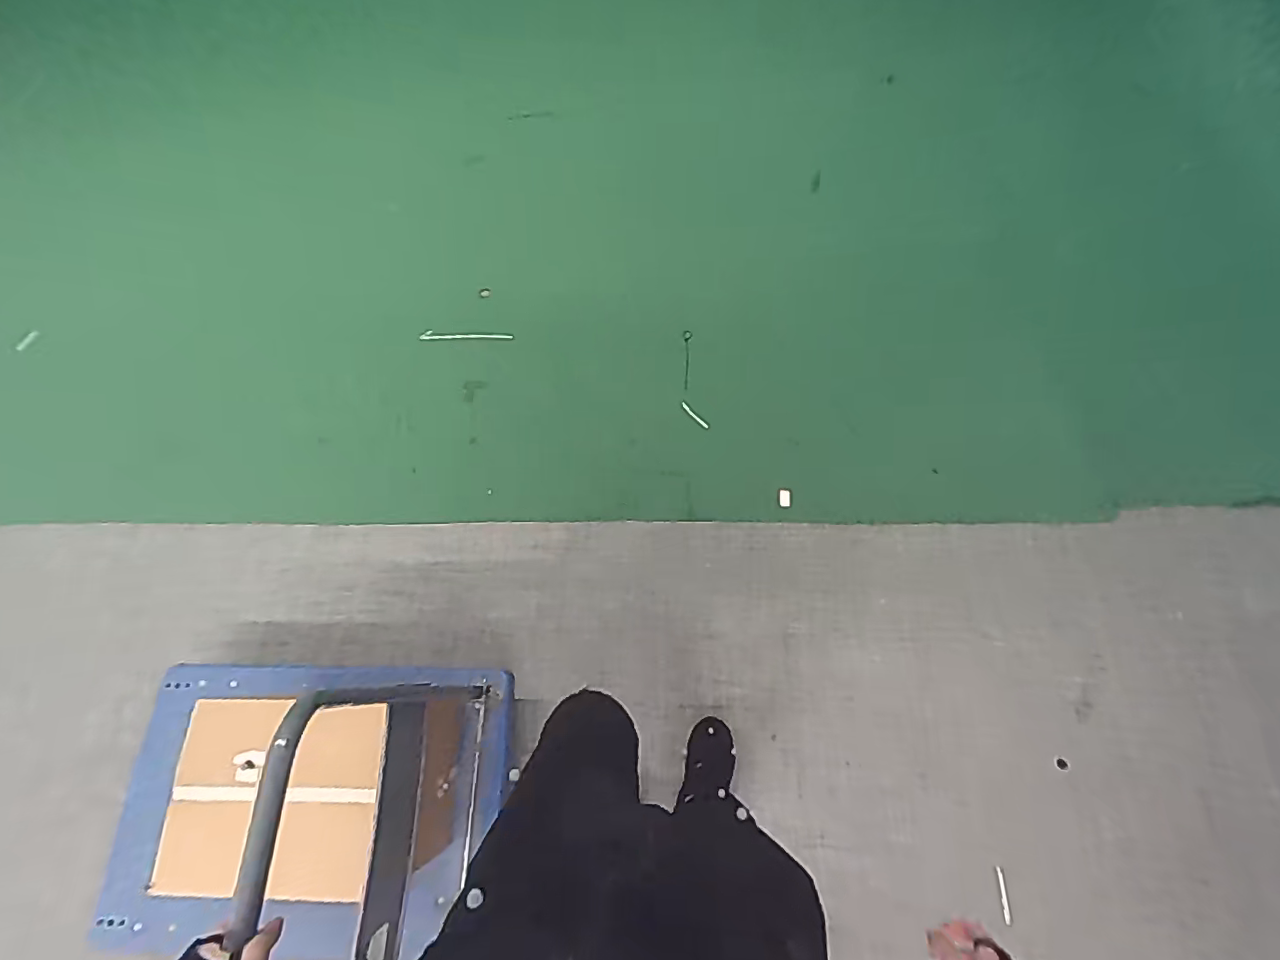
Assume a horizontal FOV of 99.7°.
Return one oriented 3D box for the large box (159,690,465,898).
[{"bbox_3d":[-0.610,0.599,1.094,0.408,0.320,0.320,-1,70,4],"label":"large box"}]
